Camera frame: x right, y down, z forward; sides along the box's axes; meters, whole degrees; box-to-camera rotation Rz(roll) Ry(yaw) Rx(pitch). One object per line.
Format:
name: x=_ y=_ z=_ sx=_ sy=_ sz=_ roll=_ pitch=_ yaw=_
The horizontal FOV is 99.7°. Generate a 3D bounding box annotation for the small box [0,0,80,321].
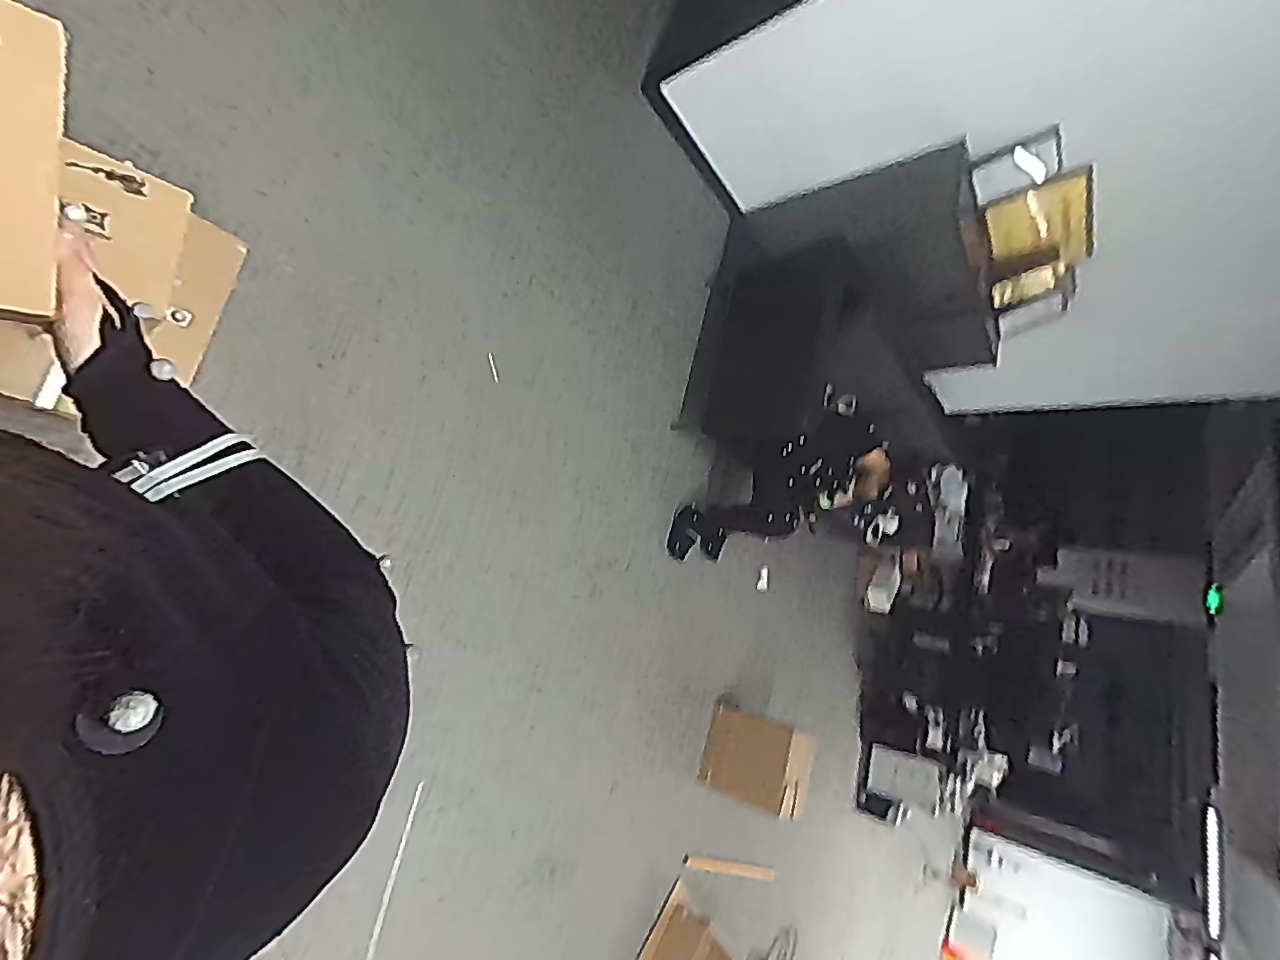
small box: x=-0.464 y=-0.202 z=0.325 sx=0.168 sy=0.176 sz=0.179 roll=0 pitch=100 yaw=-49

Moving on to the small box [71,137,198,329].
small box: x=-0.702 y=-0.310 z=0.693 sx=0.168 sy=0.176 sz=0.179 roll=15 pitch=81 yaw=-48
